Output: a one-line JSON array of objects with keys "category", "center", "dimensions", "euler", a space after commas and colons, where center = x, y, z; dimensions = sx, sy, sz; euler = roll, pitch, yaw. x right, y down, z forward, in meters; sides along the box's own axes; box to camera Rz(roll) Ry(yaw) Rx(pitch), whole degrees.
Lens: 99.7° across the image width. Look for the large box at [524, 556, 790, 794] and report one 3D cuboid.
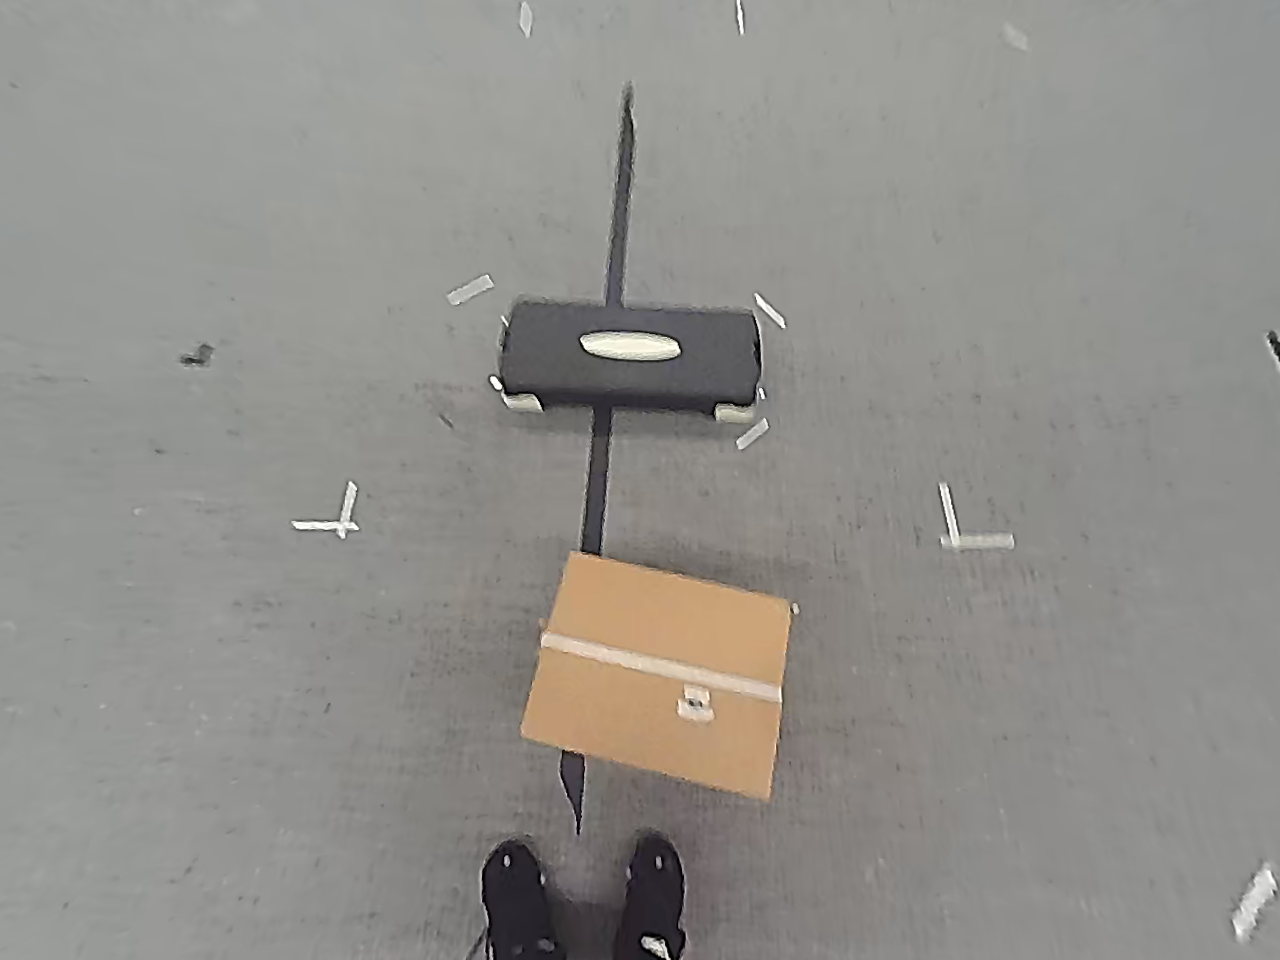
[{"category": "large box", "center": [0.034, 0.365, 1.036], "dimensions": [0.408, 0.320, 0.320], "euler": [12, 69, 4]}]
